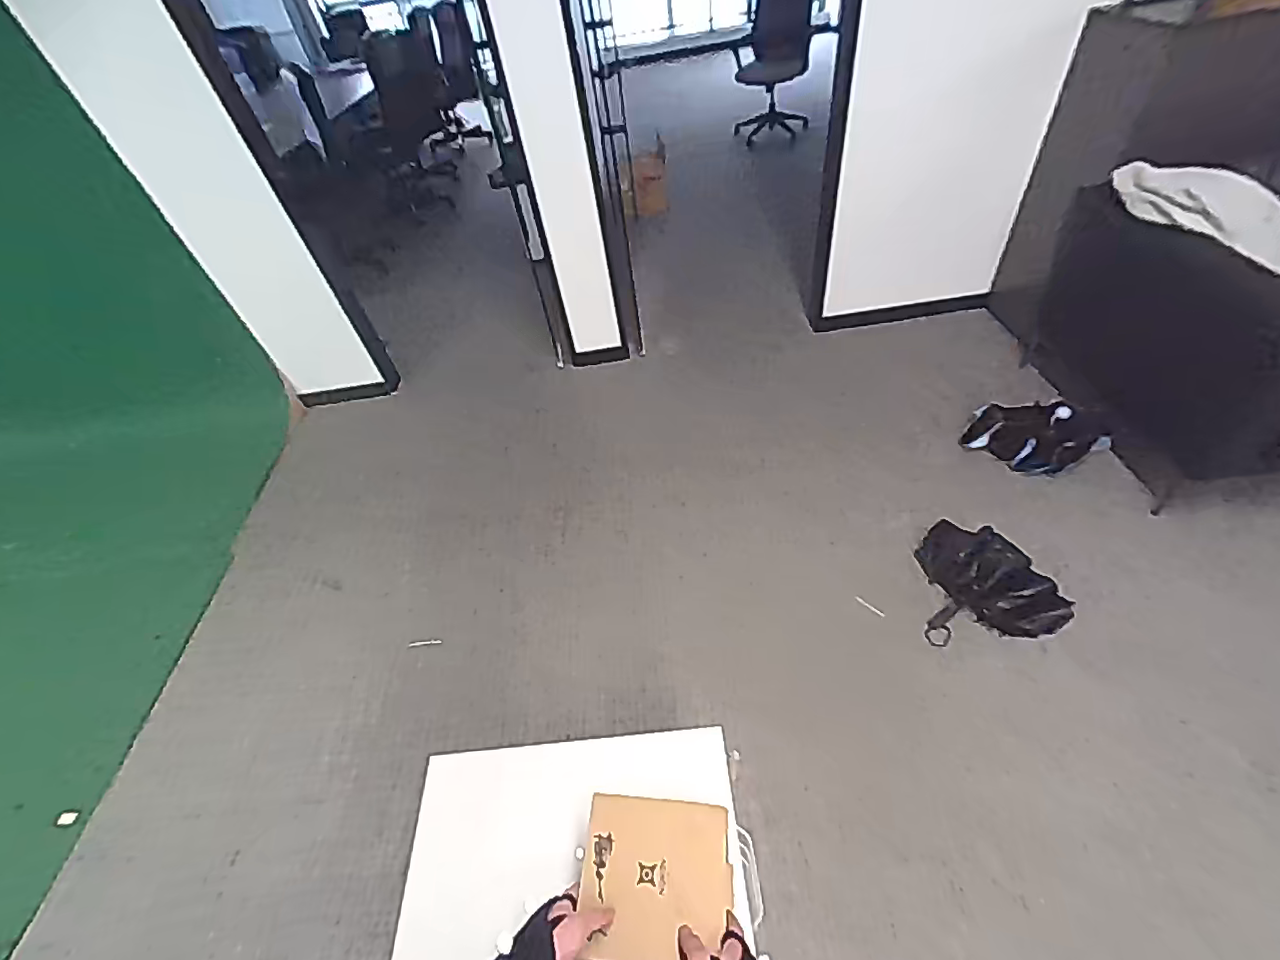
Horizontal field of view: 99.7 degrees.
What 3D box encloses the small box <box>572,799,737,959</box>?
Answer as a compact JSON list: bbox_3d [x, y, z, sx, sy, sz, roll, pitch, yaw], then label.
[{"bbox_3d":[0.020,0.519,0.668,0.179,0.176,0.168,3,43,4],"label":"small box"}]
